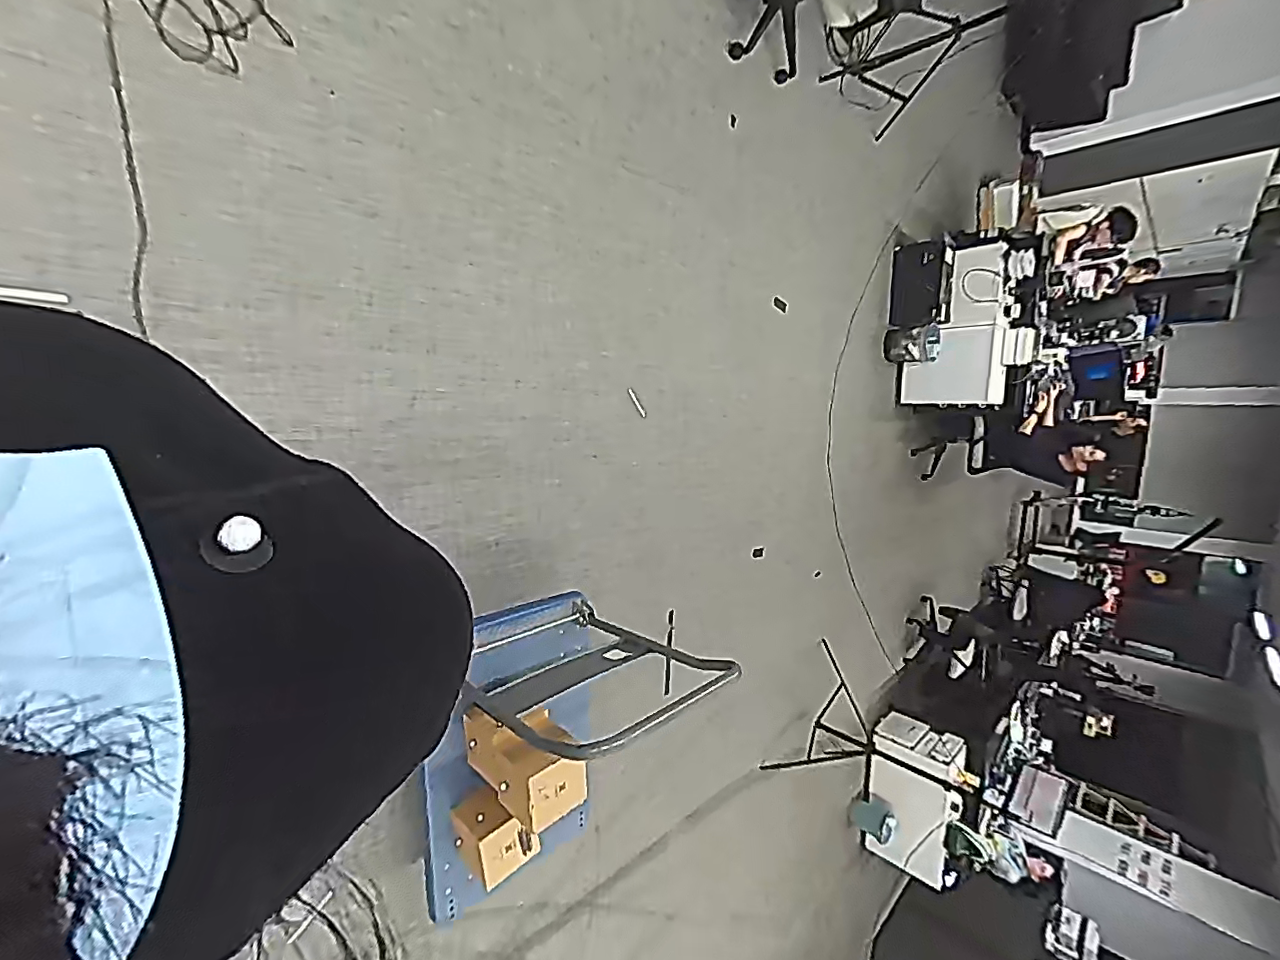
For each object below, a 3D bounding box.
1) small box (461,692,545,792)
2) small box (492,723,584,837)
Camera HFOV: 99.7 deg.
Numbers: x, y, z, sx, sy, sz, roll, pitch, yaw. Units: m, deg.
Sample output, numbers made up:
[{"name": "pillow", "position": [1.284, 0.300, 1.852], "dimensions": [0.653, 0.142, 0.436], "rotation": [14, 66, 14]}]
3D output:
[{"name": "small box", "position": [-0.385, 0.734, 1.537], "dimensions": [0.179, 0.176, 0.168], "rotation": [-13, 105, -43]}, {"name": "small box", "position": [-0.269, 0.778, 1.426], "dimensions": [0.179, 0.176, 0.168], "rotation": [-12, 104, -43]}]
